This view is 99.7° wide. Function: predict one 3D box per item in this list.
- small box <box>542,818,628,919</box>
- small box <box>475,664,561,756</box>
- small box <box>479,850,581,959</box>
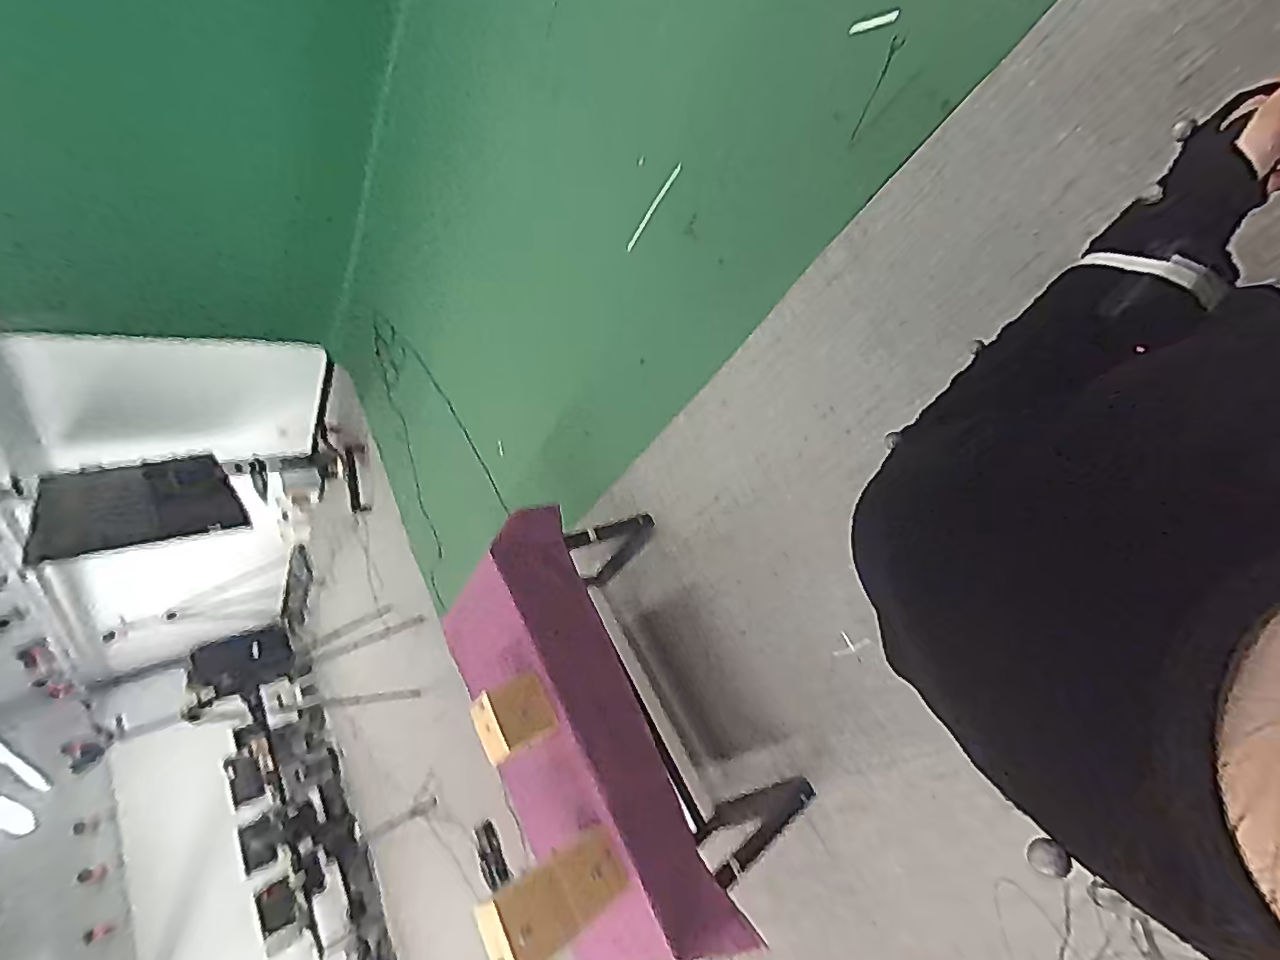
[{"bbox_3d":[-0.154,1.048,1.463,0.179,0.176,0.168,-50,62,41],"label":"small box"},{"bbox_3d":[-0.363,0.682,1.613,0.179,0.176,0.168,58,134,20],"label":"small box"},{"bbox_3d":[-0.273,1.072,1.352,0.168,0.176,0.179,-50,62,41],"label":"small box"}]
